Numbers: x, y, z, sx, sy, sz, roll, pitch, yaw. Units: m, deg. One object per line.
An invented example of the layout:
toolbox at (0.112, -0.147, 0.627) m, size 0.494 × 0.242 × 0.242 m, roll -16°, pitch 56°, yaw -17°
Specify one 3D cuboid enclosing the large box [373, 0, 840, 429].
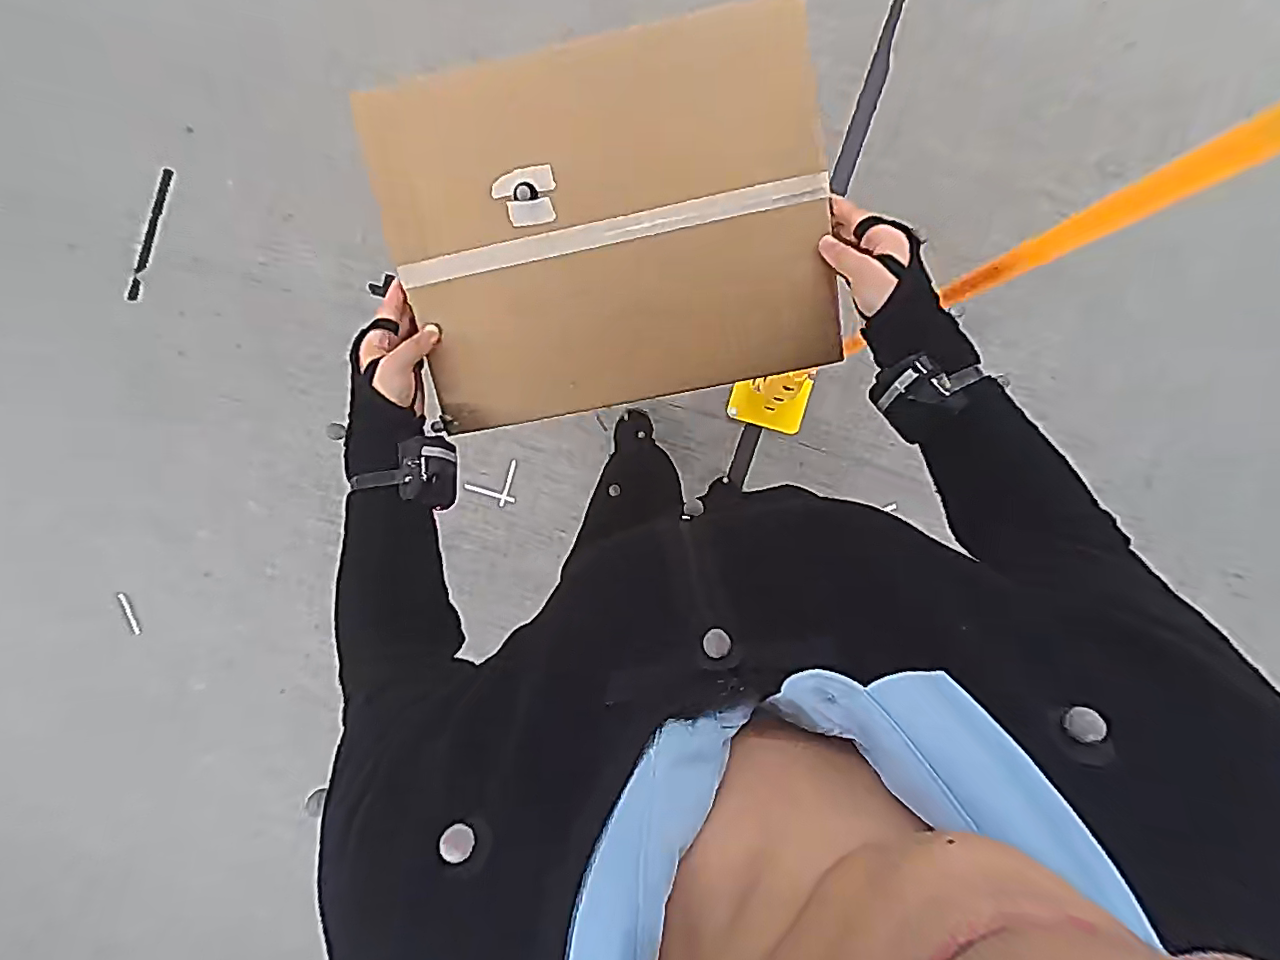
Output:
large box at (-0.018, -0.276, 0.661) m, size 0.408 × 0.320 × 0.320 m, roll -11°, pitch 103°, yaw 5°
